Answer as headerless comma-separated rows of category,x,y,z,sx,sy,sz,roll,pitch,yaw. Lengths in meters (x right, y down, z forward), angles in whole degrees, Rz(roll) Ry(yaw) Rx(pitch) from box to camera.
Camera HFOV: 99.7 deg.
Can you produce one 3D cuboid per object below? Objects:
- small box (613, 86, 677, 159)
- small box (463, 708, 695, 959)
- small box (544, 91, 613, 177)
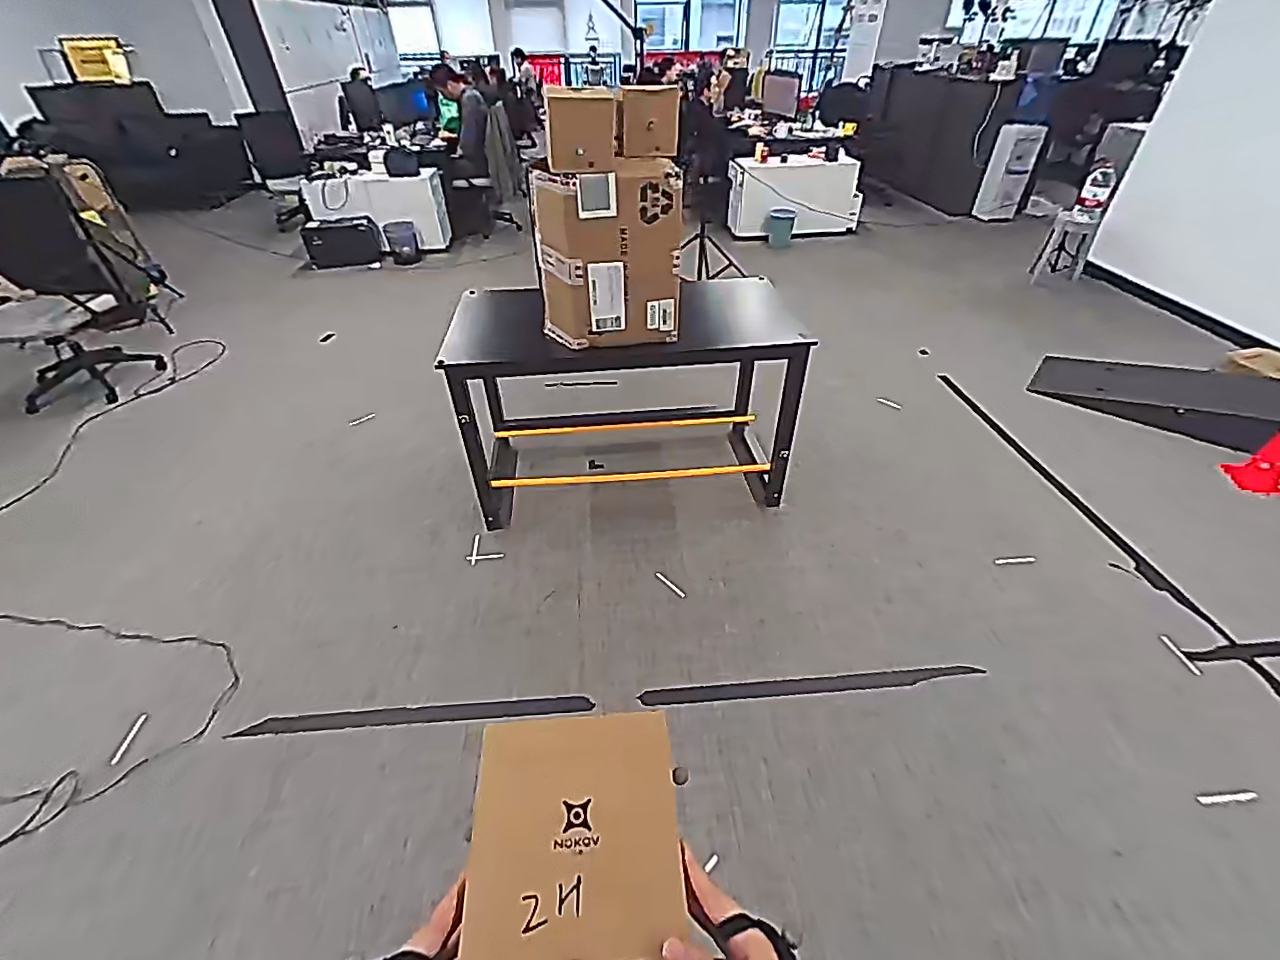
small box,0.012,-1.077,1.630,0.168,0.176,0.179,-5,39,-9
small box,-0.049,0.331,0.491,0.168,0.176,0.179,-3,46,-3
small box,-0.165,-0.918,1.433,0.168,0.176,0.179,-6,42,-9
